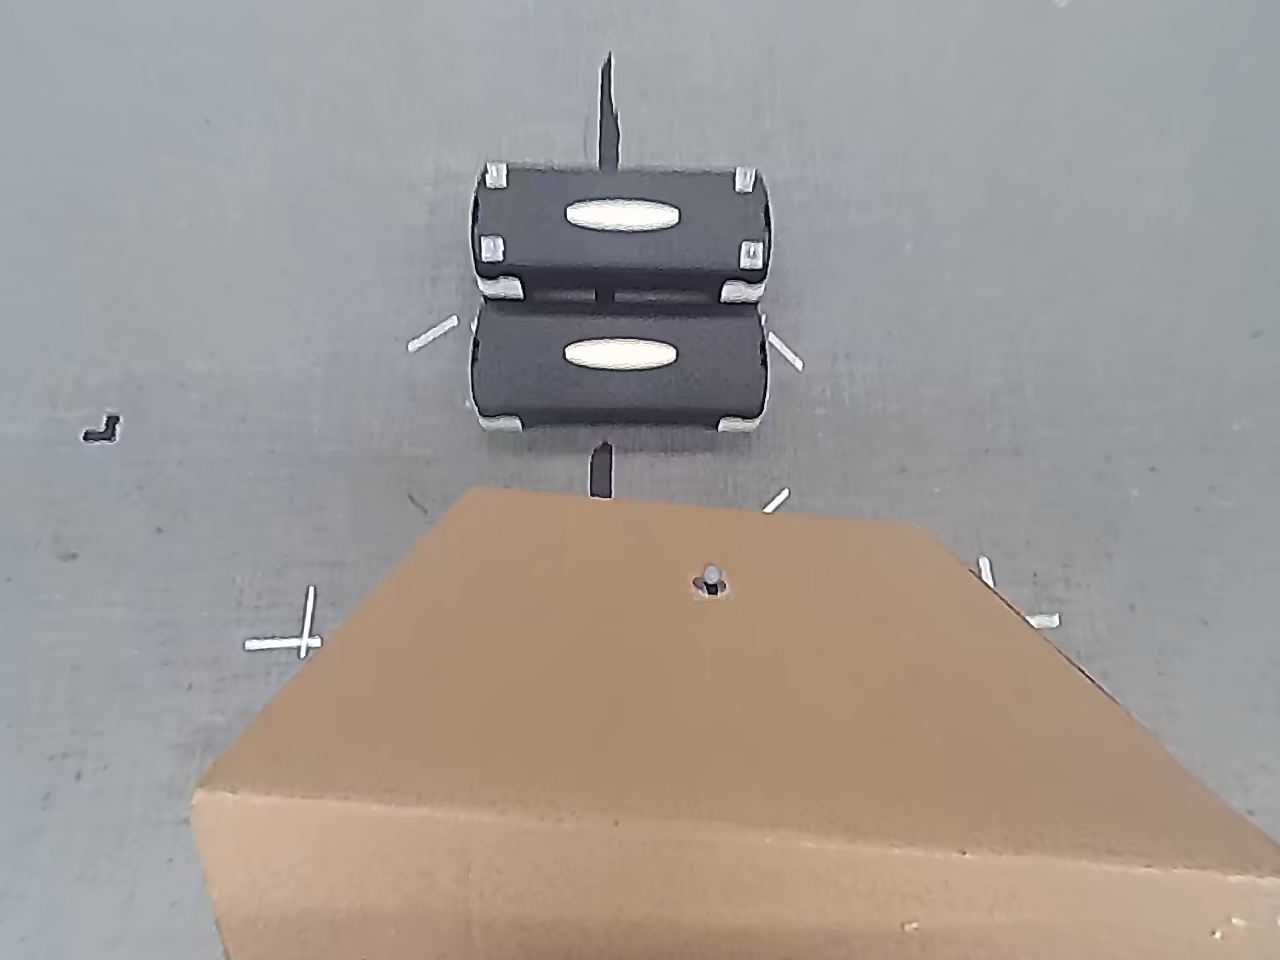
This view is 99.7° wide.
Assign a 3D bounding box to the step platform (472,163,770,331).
[{"bbox_3d":[-0.041,-0.550,1.286,0.684,0.204,0.286,5,74,-1],"label":"step platform"}]
